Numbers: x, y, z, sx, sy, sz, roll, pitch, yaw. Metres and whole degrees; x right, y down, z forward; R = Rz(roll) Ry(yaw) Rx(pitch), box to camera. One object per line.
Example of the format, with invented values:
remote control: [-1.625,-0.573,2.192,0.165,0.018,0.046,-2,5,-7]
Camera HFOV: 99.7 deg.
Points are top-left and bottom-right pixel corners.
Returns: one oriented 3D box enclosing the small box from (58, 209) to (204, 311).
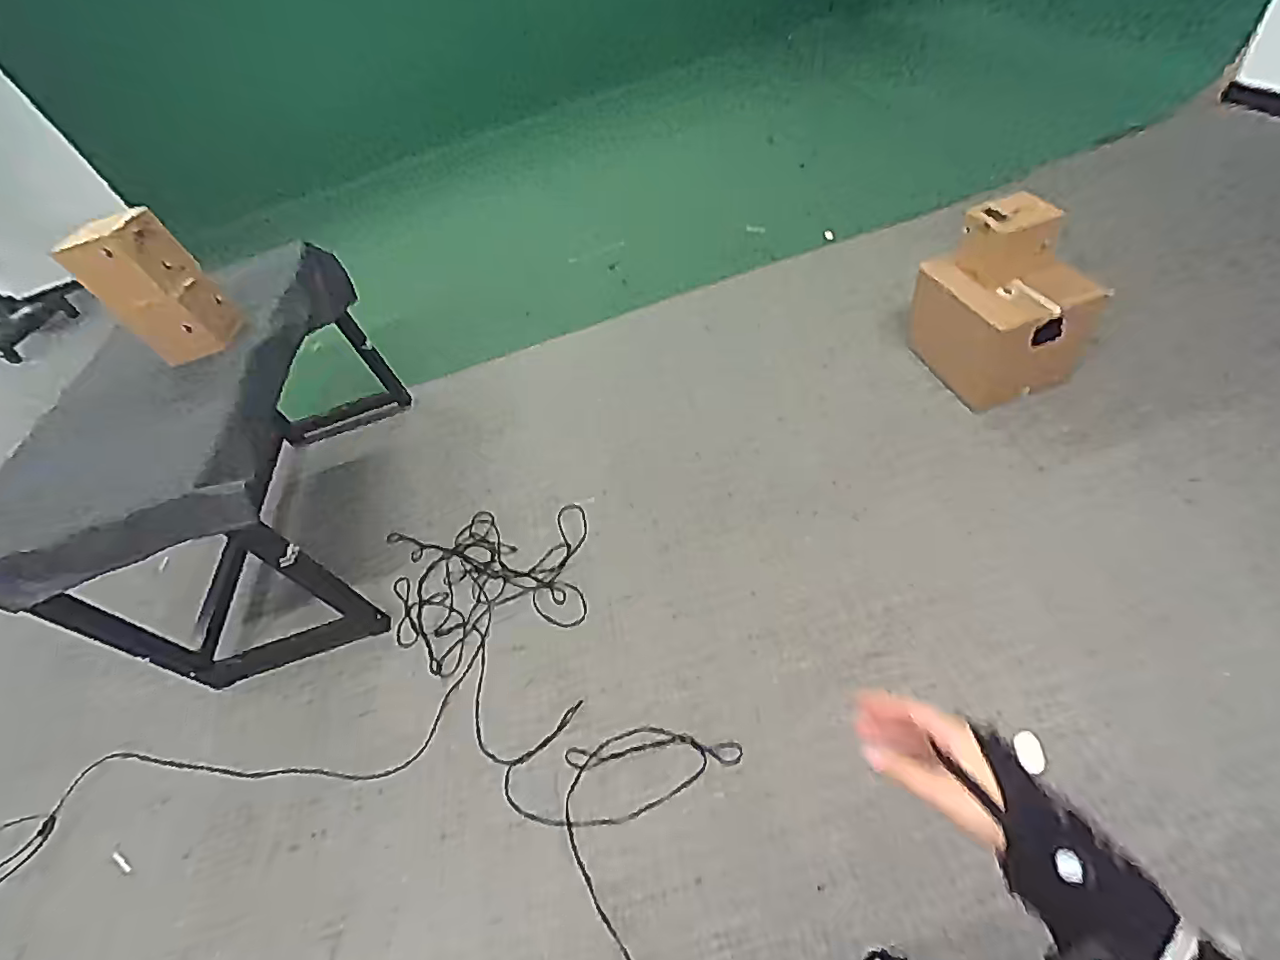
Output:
small box: [-1.285,-0.557,1.380,0.179,0.176,0.168,-12,48,7]

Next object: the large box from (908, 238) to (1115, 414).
large box: [1.107,-0.480,1.682,0.320,0.320,0.408,-20,50,2]

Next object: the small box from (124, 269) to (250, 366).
small box: [-1.229,-0.443,1.485,0.179,0.176,0.168,-17,47,5]
